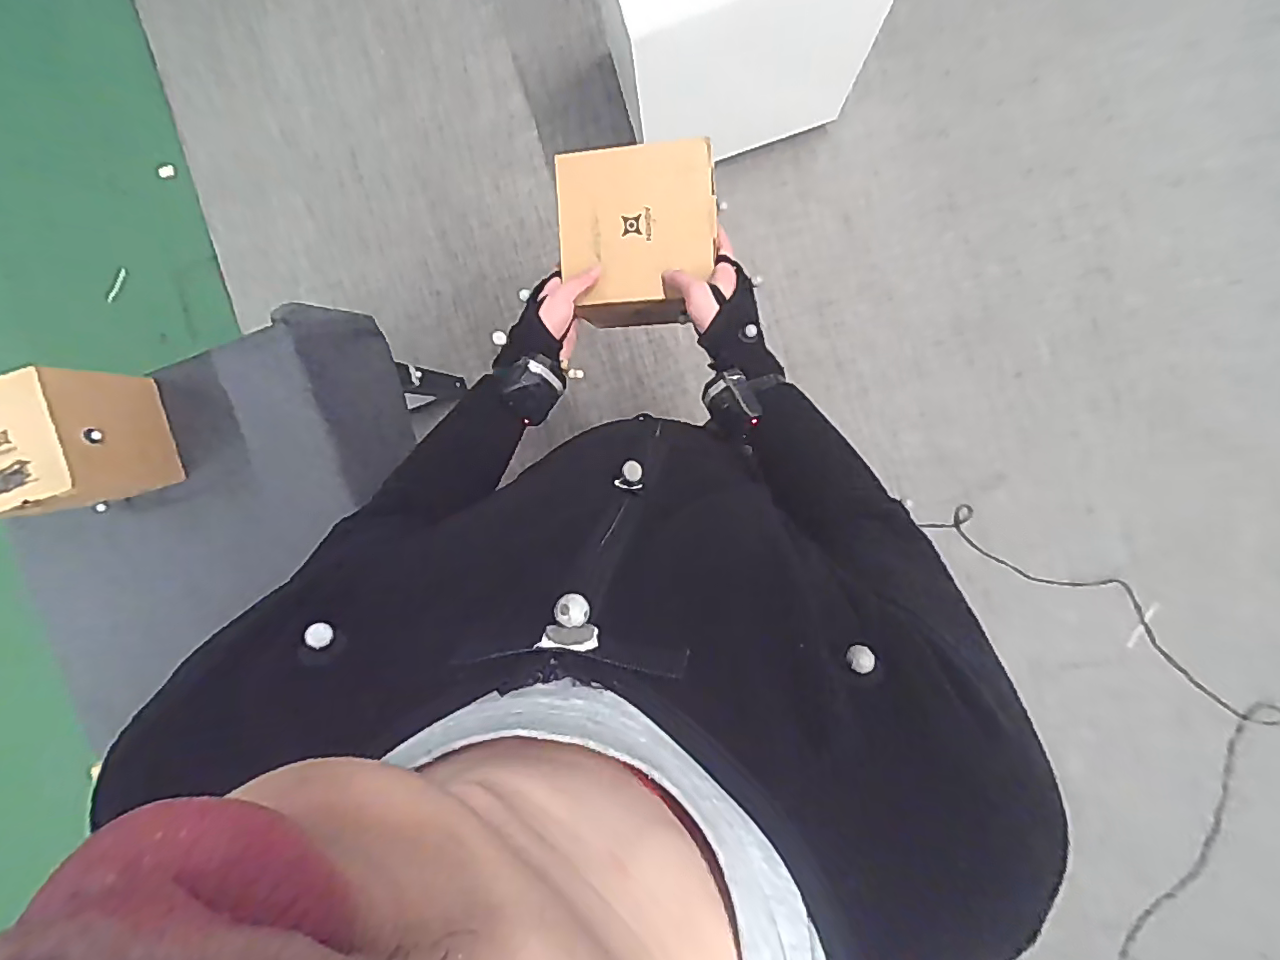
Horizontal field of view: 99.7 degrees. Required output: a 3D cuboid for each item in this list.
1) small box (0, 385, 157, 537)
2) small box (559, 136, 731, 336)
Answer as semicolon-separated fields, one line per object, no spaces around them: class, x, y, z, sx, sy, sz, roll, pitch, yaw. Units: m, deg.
small box;-0.840;-0.023;0.755;0.168;0.176;0.179;-16;93;3
small box;0.014;-0.276;0.653;0.179;0.176;0.168;-4;94;9
